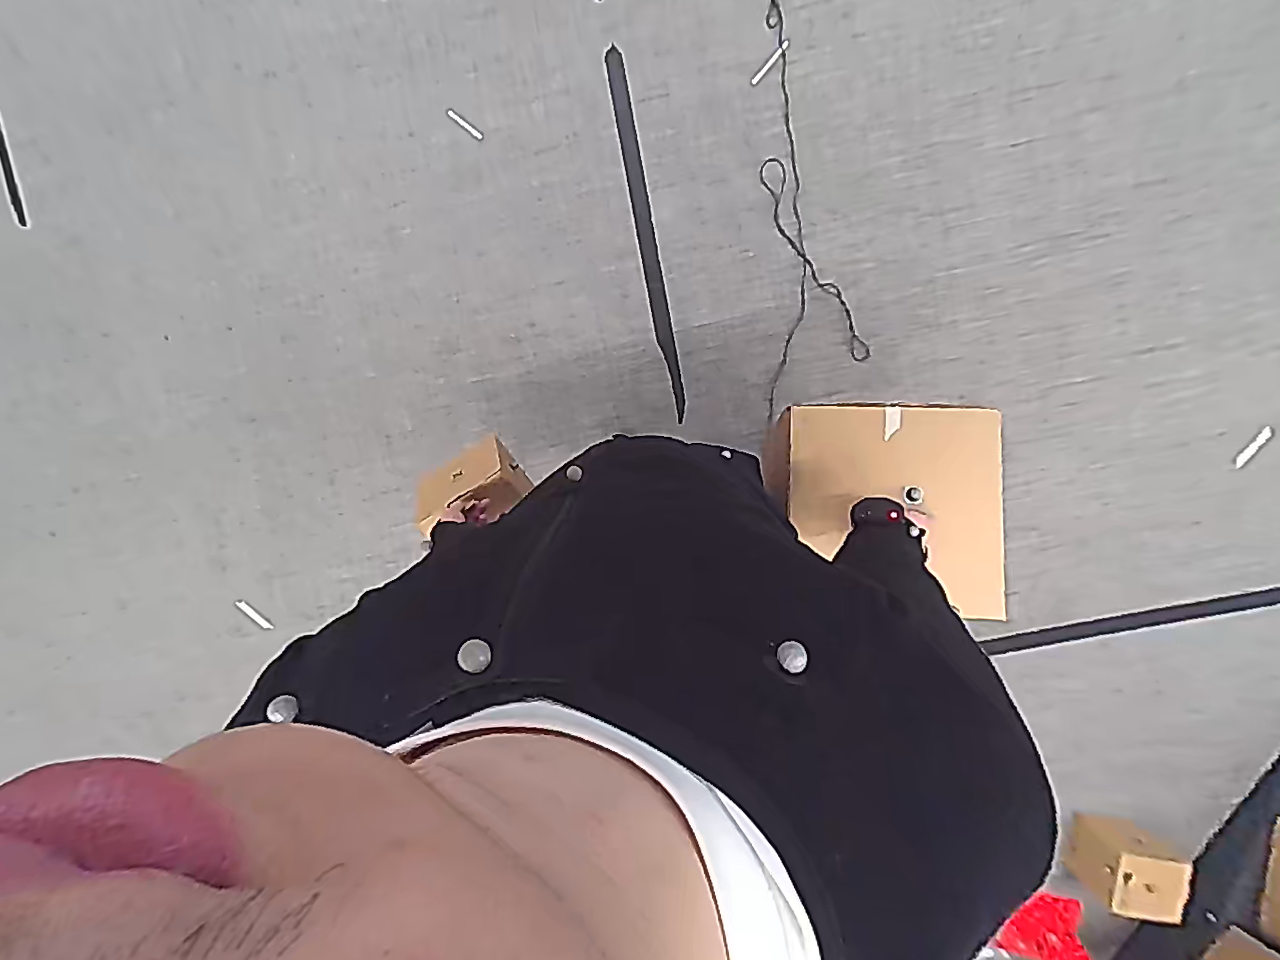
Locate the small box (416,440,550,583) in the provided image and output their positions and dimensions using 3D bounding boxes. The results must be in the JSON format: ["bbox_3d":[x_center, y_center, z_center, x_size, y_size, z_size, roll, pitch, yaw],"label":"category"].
[{"bbox_3d":[-0.282,0.062,0.985,0.168,0.179,0.176,-33,120,-3],"label":"small box"}]
